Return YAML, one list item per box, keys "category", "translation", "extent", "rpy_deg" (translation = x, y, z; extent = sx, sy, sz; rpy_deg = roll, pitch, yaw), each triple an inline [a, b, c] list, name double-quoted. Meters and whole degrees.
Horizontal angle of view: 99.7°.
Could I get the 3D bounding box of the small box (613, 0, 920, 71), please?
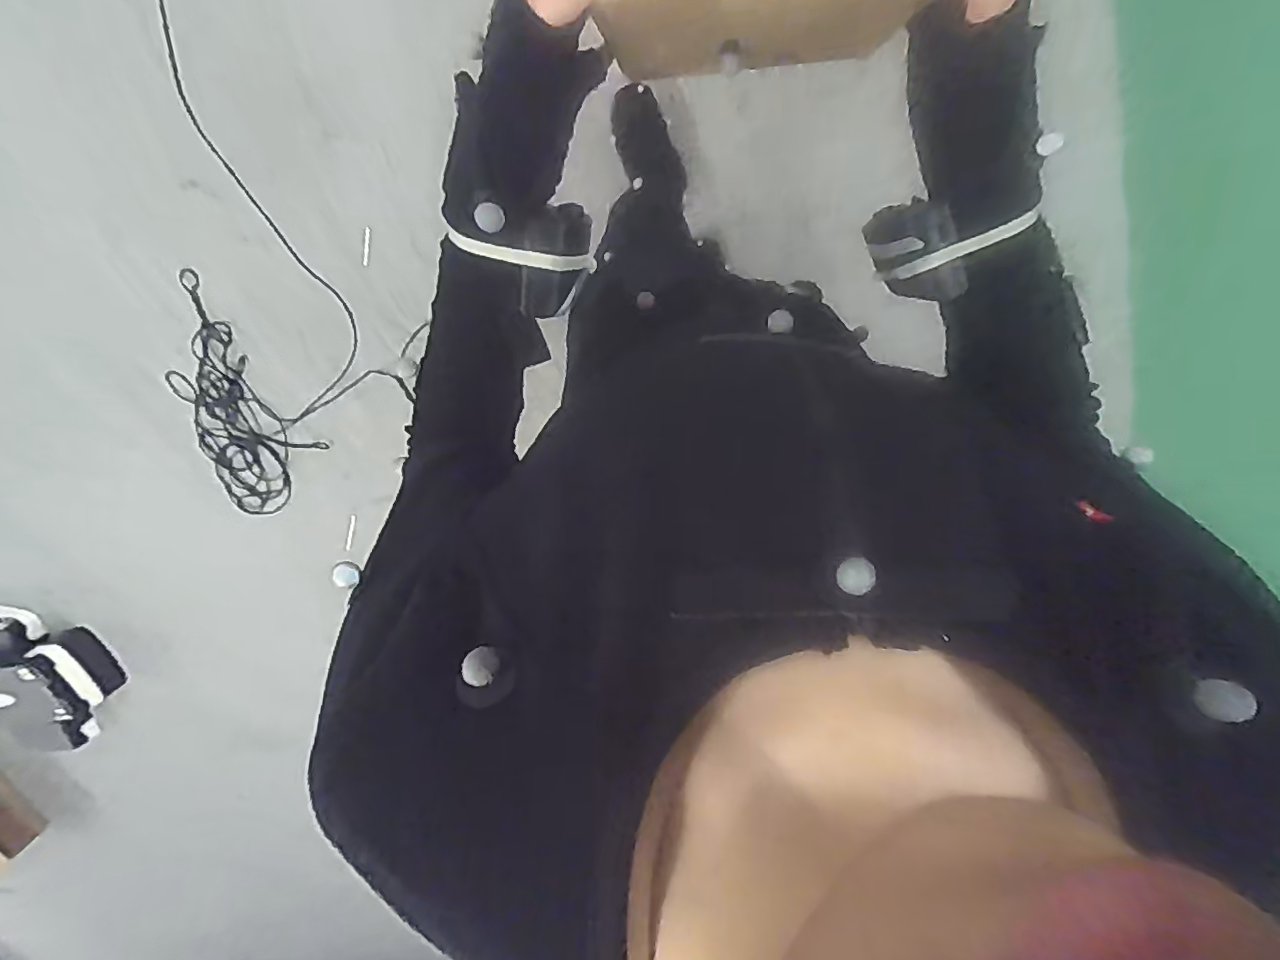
- category: "small box"
  translation: [0.060, -0.322, 0.251]
  extent: [0.168, 0.176, 0.179]
  rpy_deg: [-1, 117, 7]
